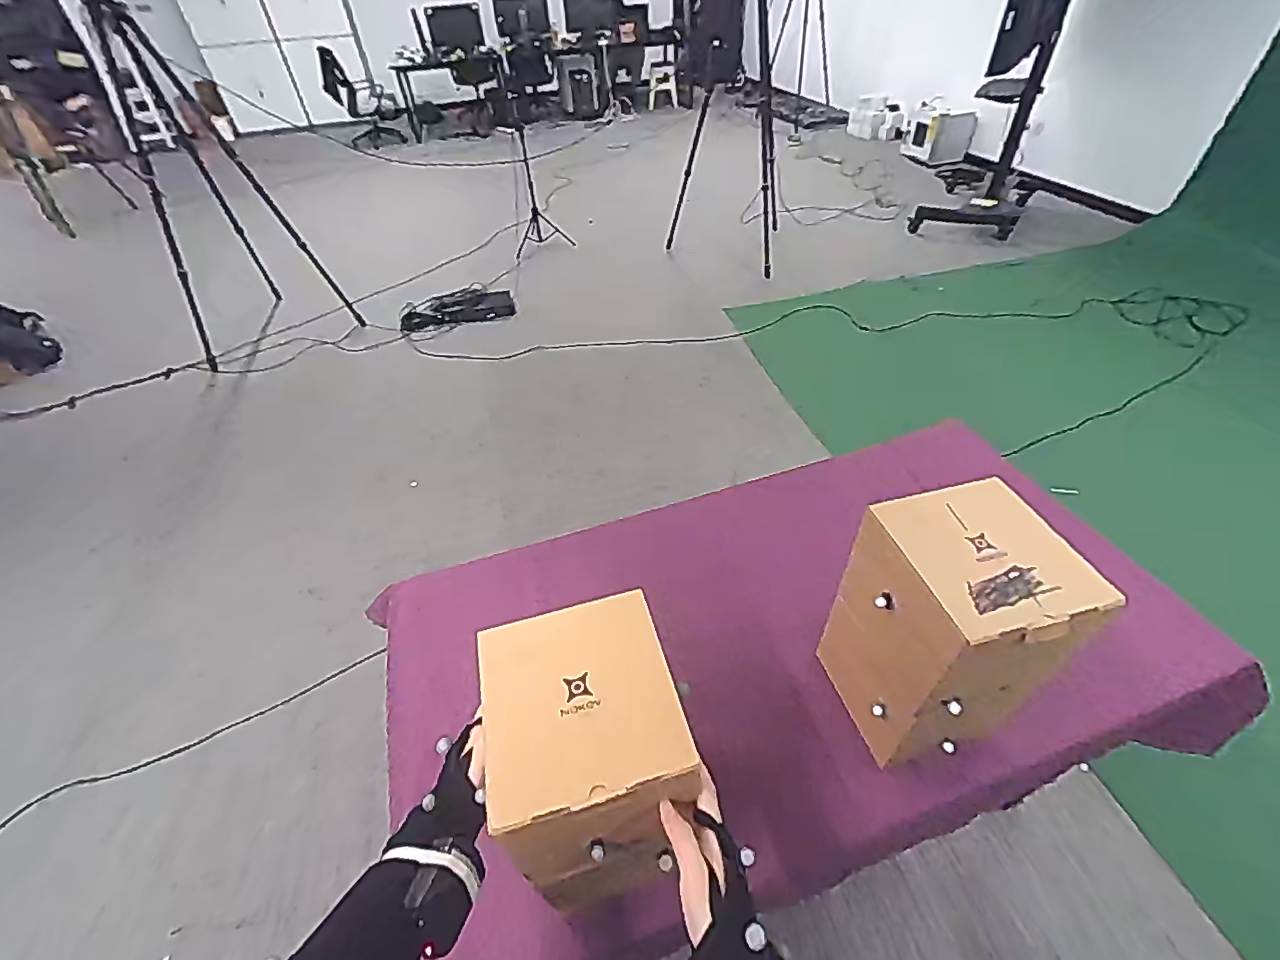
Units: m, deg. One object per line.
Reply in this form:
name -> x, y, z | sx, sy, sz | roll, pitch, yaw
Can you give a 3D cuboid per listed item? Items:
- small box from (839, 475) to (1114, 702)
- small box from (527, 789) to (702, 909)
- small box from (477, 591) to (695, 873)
small box -> 0.348, 0.126, 0.604 | 0.168, 0.176, 0.179 | -12, 44, -7
small box -> -0.038, 0.365, 0.632 | 0.179, 0.176, 0.168 | -14, 44, -9
small box -> -0.054, 0.242, 0.526 | 0.168, 0.176, 0.179 | -13, 45, -9
